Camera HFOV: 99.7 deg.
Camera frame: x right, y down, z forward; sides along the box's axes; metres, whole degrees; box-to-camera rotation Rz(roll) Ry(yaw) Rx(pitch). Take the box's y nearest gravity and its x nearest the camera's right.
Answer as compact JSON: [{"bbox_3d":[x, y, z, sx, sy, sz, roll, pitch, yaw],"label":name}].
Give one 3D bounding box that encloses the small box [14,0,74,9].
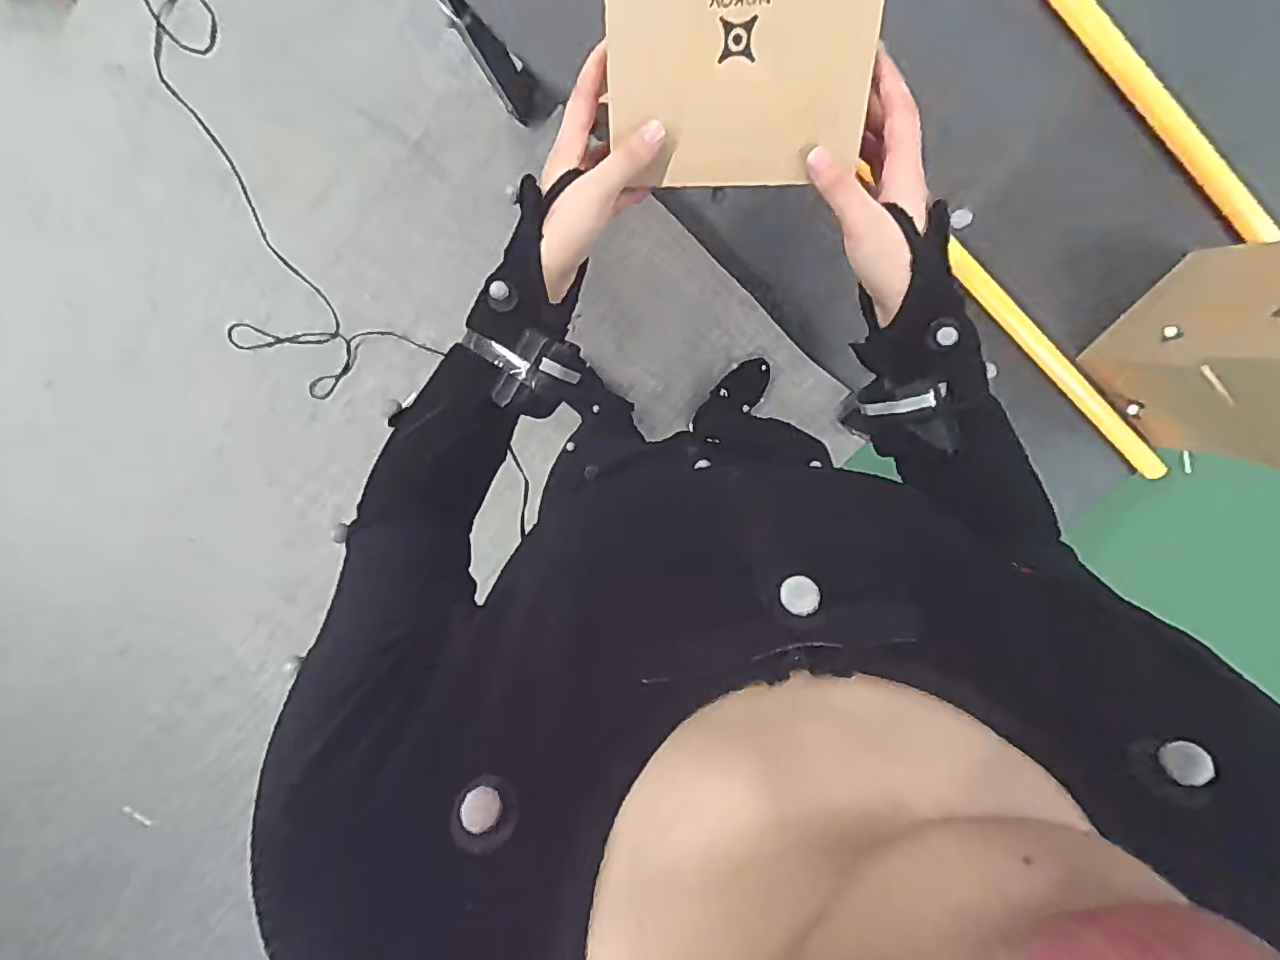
[{"bbox_3d":[-1.348,-1.136,1.129,0.168,0.176,0.179,6,105,-1],"label":"small box"}]
